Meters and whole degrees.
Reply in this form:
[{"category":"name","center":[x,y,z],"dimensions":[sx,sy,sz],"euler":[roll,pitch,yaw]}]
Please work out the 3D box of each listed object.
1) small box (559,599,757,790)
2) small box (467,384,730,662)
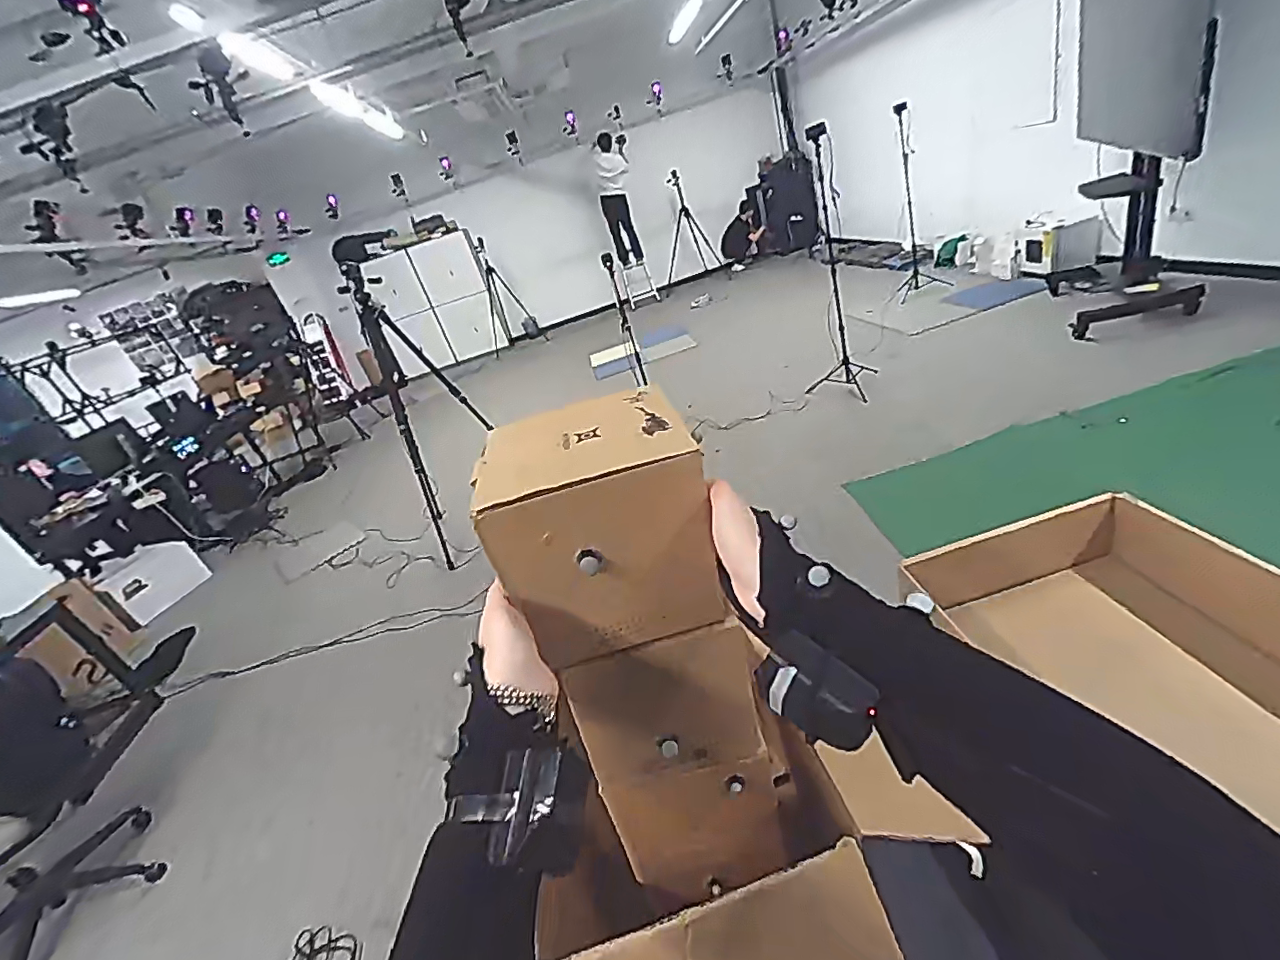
[{"category":"small box","center":[0.013,0.184,0.577],"dimensions":[0.168,0.176,0.179],"euler":[-15,26,-3]},{"category":"small box","center":[-0.034,0.036,0.495],"dimensions":[0.179,0.176,0.168],"euler":[-17,30,-1]}]
